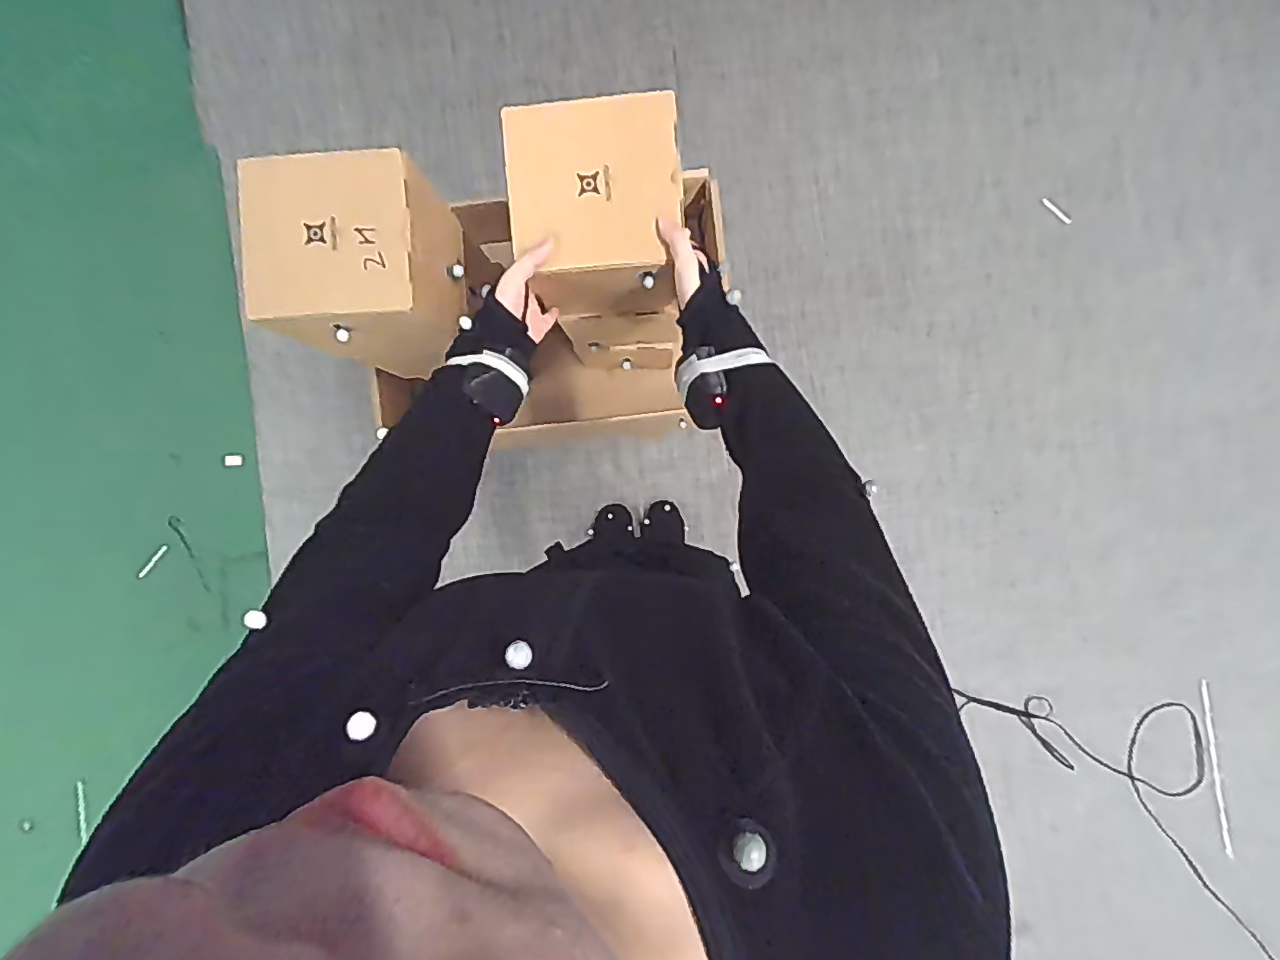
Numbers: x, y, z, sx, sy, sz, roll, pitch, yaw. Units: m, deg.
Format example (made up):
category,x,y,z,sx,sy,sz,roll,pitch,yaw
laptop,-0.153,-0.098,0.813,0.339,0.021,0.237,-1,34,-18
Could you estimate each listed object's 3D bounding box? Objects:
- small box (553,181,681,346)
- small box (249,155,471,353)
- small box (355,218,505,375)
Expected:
category,x,y,z,sx,sy,sz,roll,pitch,yaw
small box,-0.025,-0.299,0.787,0.168,0.176,0.179,-3,90,3
small box,-0.315,-0.250,0.639,0.179,0.176,0.168,-2,91,2
small box,-0.307,-0.258,0.803,0.168,0.176,0.179,-5,89,2
